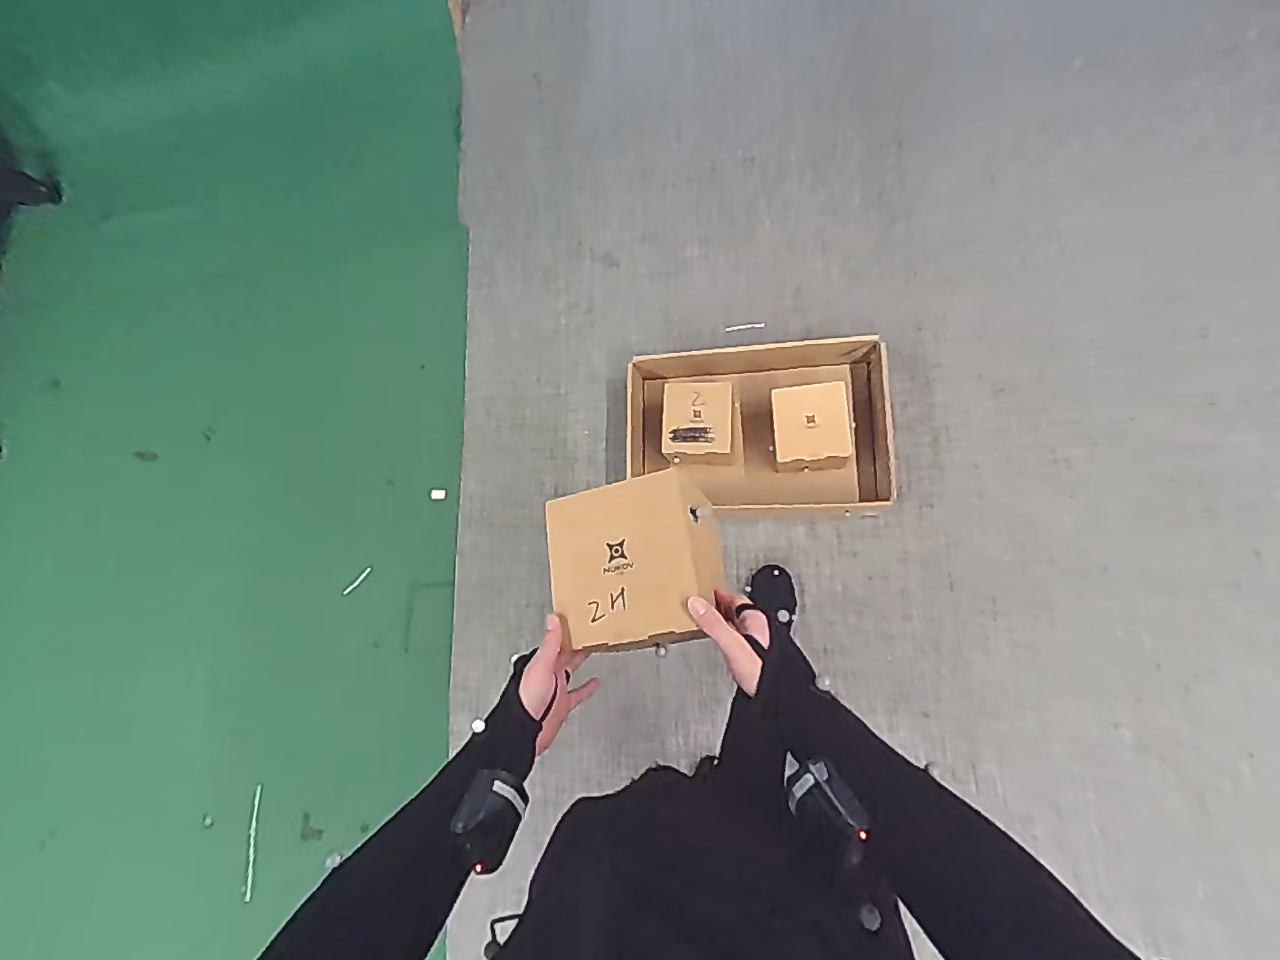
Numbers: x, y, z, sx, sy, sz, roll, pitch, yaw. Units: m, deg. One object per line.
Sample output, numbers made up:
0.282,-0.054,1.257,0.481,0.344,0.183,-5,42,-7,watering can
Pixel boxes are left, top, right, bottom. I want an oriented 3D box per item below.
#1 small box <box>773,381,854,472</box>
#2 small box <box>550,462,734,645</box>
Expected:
0.411,-0.123,1.304,0.168,0.176,0.179,-5,81,13,small box
0.007,0.100,0.661,0.168,0.176,0.179,-15,69,17,small box
